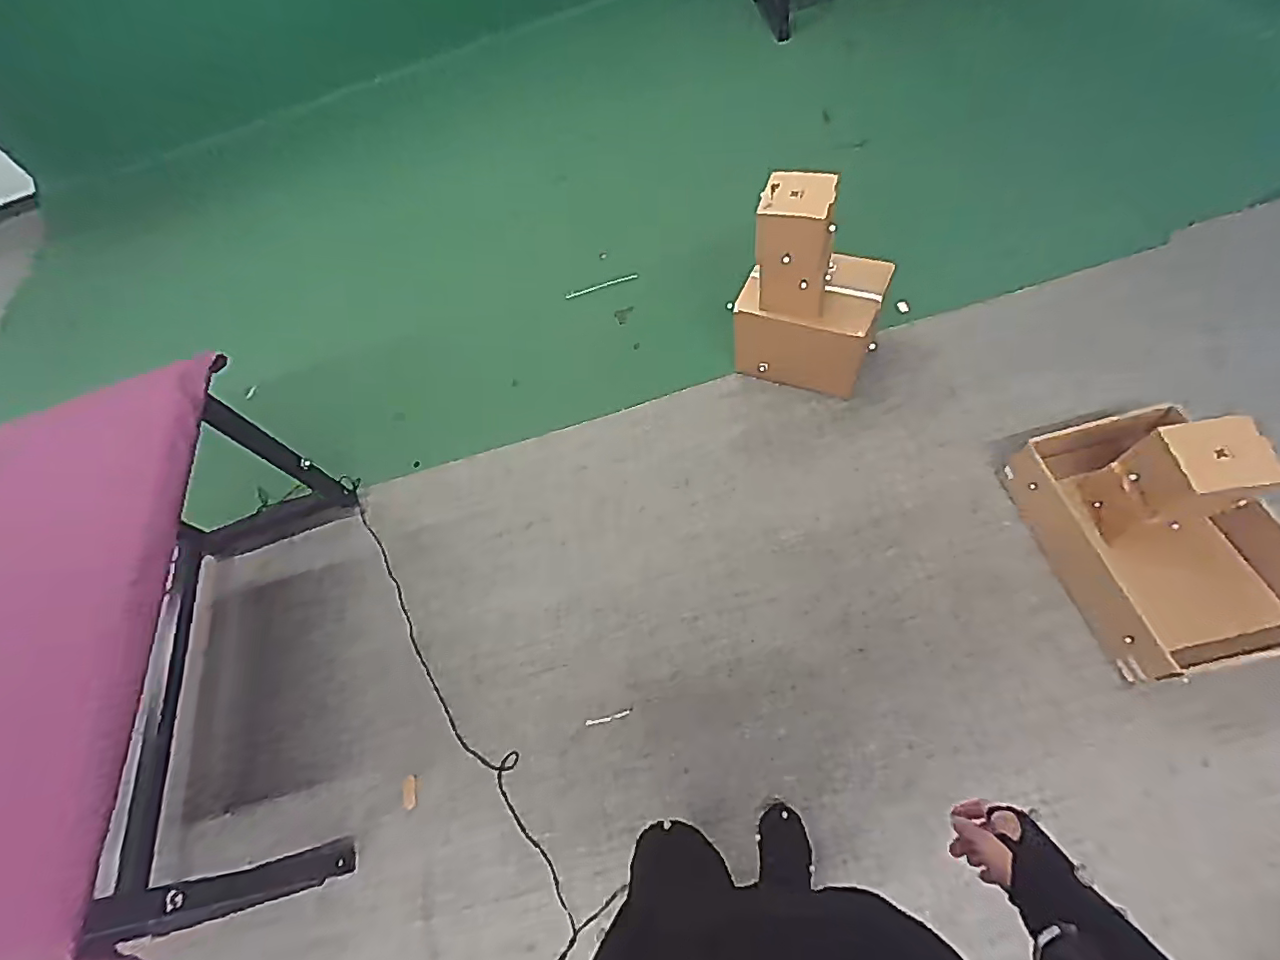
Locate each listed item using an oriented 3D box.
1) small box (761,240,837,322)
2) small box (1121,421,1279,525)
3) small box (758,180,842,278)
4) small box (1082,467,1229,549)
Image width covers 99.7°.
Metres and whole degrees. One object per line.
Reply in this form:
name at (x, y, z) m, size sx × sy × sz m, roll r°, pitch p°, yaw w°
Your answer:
small box at (0.464, -0.590, 1.592) m, size 0.179 × 0.176 × 0.168 m, roll 14°, pitch 65°, yaw 18°
small box at (1.256, -0.011, 1.216) m, size 0.179 × 0.176 × 0.168 m, roll -9°, pitch 63°, yaw 9°
small box at (0.424, -0.670, 1.454) m, size 0.179 × 0.176 × 0.168 m, roll 15°, pitch 66°, yaw 18°
small box at (1.282, 0.061, 1.361) m, size 0.179 × 0.176 × 0.168 m, roll -13°, pitch 63°, yaw 7°
